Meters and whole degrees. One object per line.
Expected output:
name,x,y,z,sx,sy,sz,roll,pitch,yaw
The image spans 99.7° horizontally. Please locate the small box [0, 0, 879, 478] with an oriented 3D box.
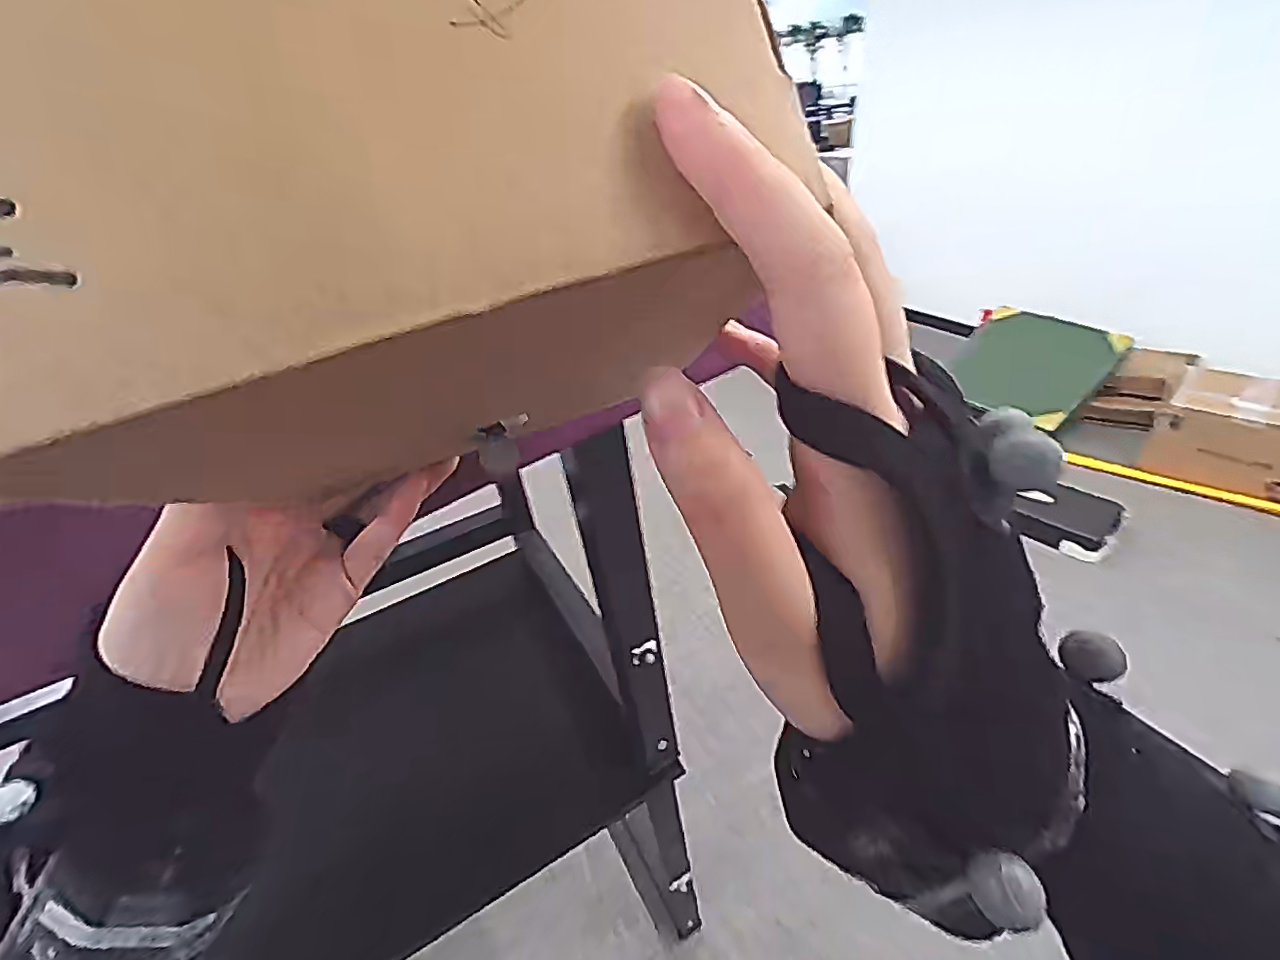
small box,-0.070,-0.106,0.171,0.179,0.168,0.176,-19,0,-11
